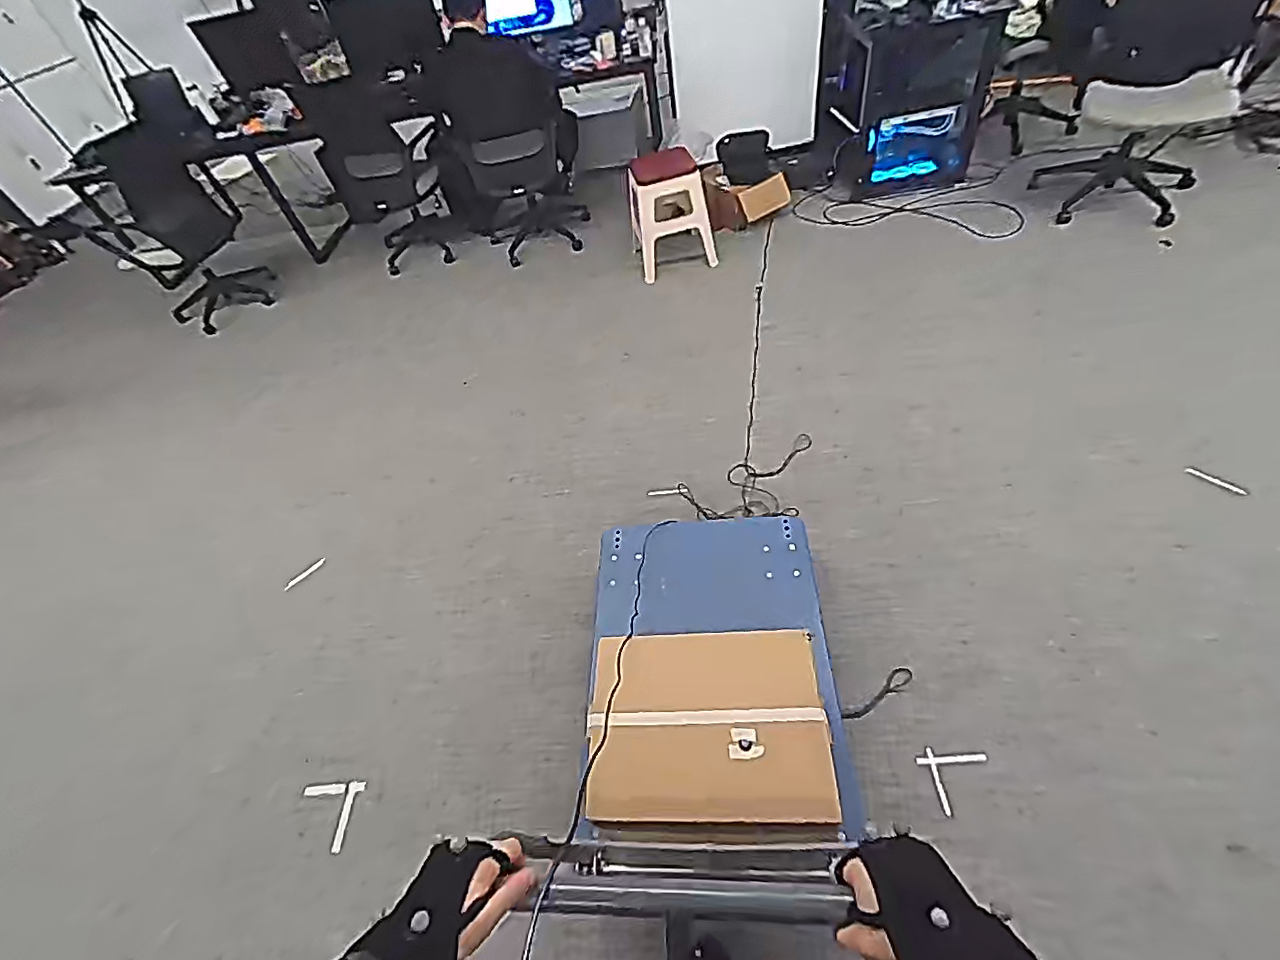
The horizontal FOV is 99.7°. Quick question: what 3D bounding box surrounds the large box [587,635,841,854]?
[{"bbox_3d":[0.132,0.519,1.047,0.408,0.320,0.320,-4,50,7],"label":"large box"}]
